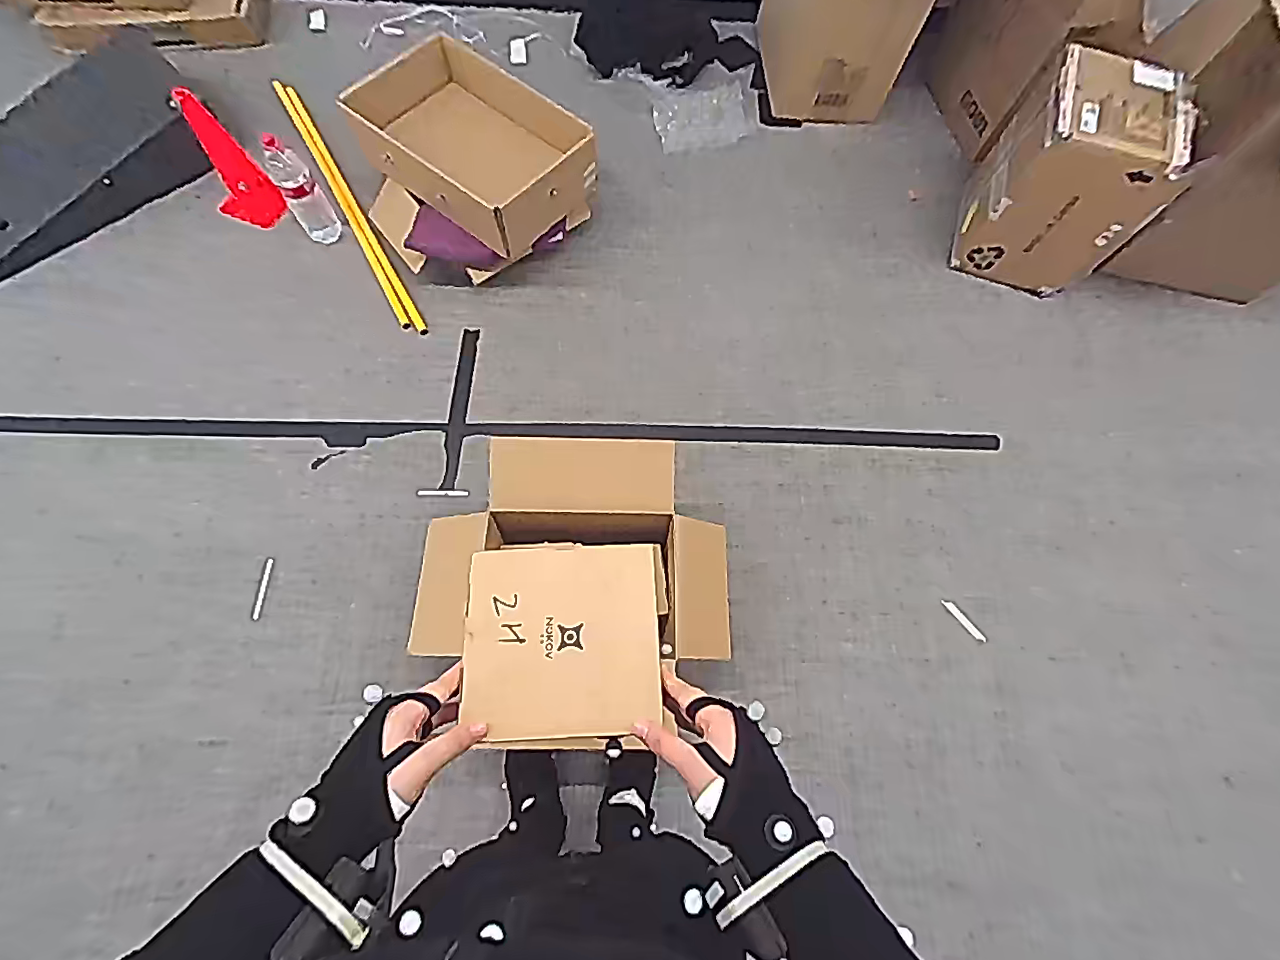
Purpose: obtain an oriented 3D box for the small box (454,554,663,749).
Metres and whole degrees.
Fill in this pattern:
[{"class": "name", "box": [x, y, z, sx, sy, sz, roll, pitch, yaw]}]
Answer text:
[{"class": "small box", "box": [-0.071, 0.179, 0.555, 0.179, 0.176, 0.168, -2, 65, -1]}]
